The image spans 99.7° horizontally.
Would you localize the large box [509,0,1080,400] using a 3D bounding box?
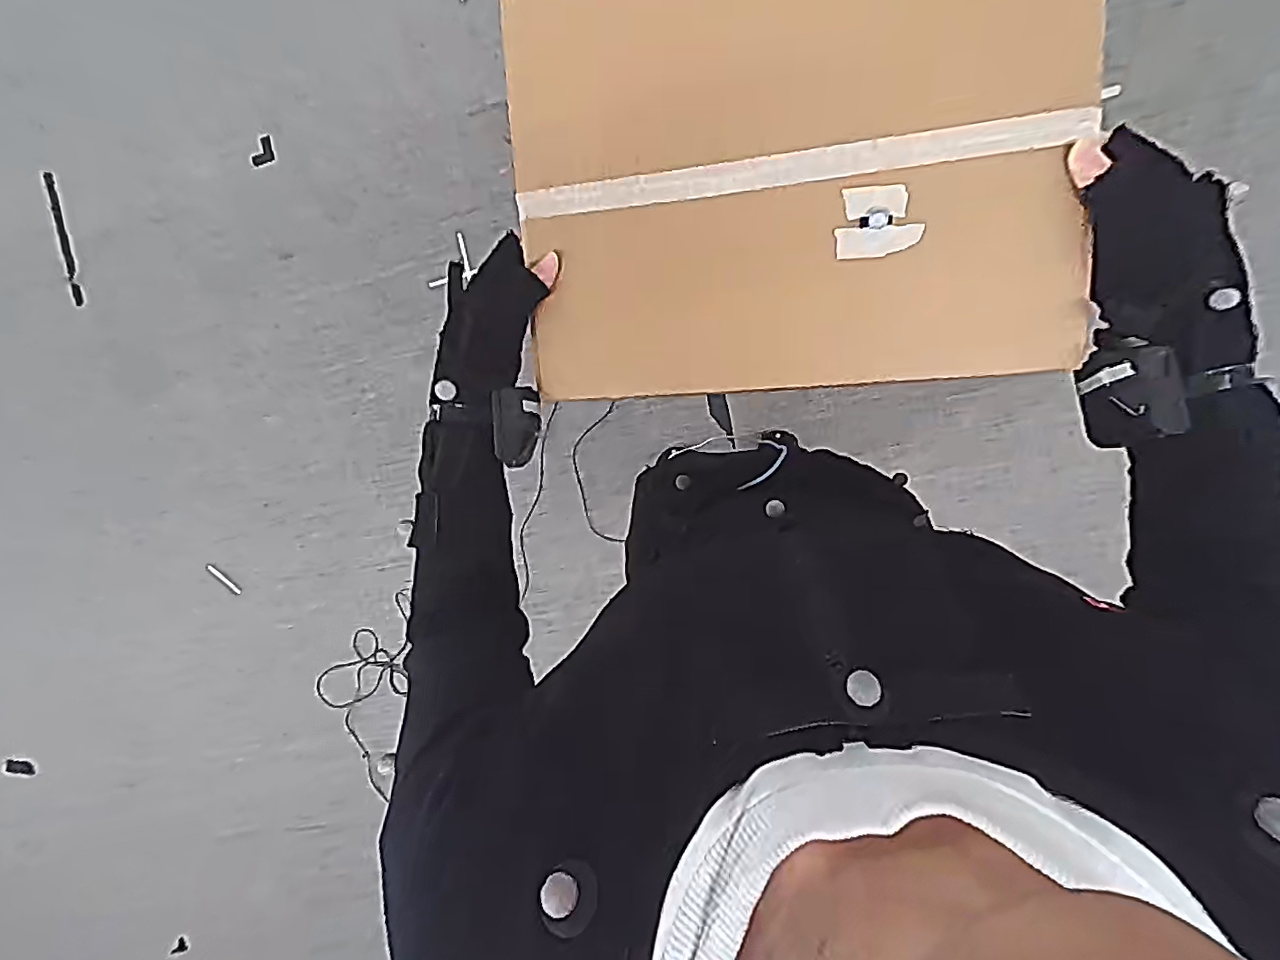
[{"bbox_3d":[0.129,-0.257,0.553,0.408,0.320,0.320,-3,100,11],"label":"large box"}]
